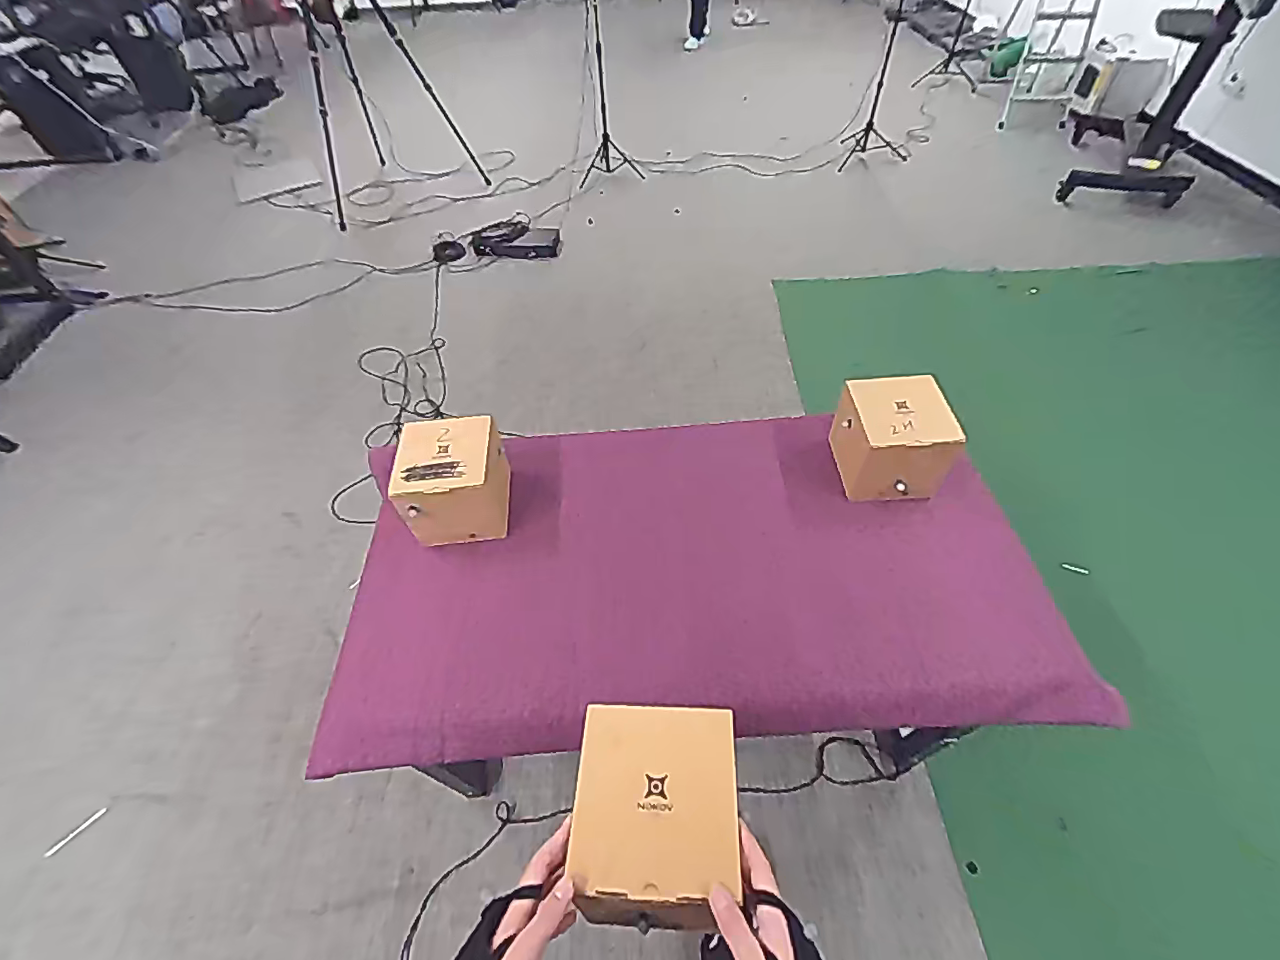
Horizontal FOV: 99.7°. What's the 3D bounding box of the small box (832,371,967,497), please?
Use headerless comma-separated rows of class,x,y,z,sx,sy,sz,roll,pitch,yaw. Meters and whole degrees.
small box,0.485,-0.087,1.046,0.168,0.176,0.179,-4,53,3

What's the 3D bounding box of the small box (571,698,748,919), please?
small box,0.025,0.366,0.605,0.168,0.176,0.179,0,46,4
